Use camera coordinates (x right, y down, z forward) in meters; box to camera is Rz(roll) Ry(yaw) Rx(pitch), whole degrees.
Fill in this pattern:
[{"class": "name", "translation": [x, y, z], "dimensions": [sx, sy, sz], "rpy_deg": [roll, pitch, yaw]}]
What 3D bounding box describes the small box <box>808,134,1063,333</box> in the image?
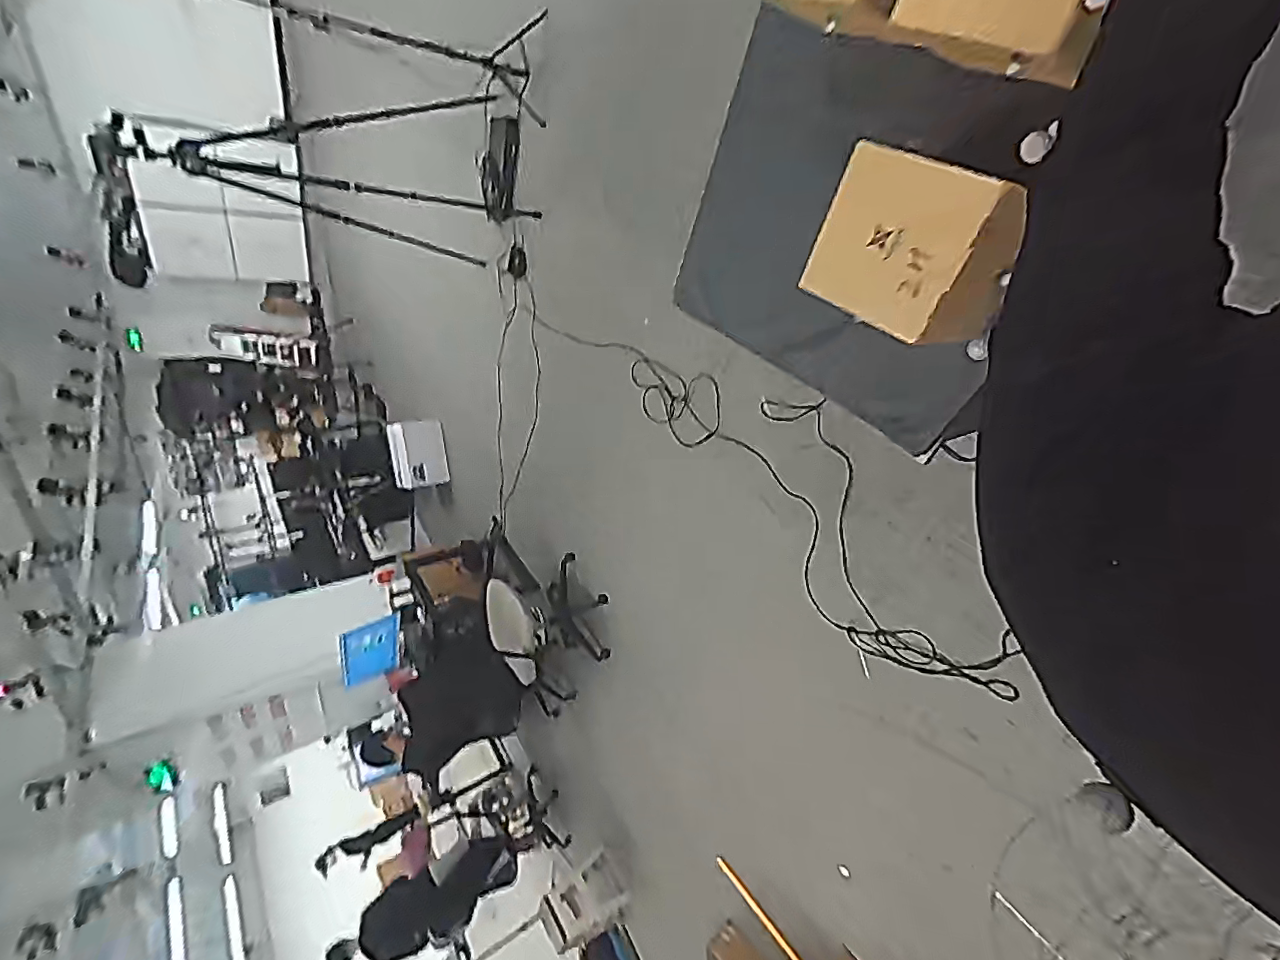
[{"class": "small box", "translation": [0.346, -0.288, 0.647], "dimensions": [0.179, 0.176, 0.168], "rpy_deg": [46, 134, 35]}]
